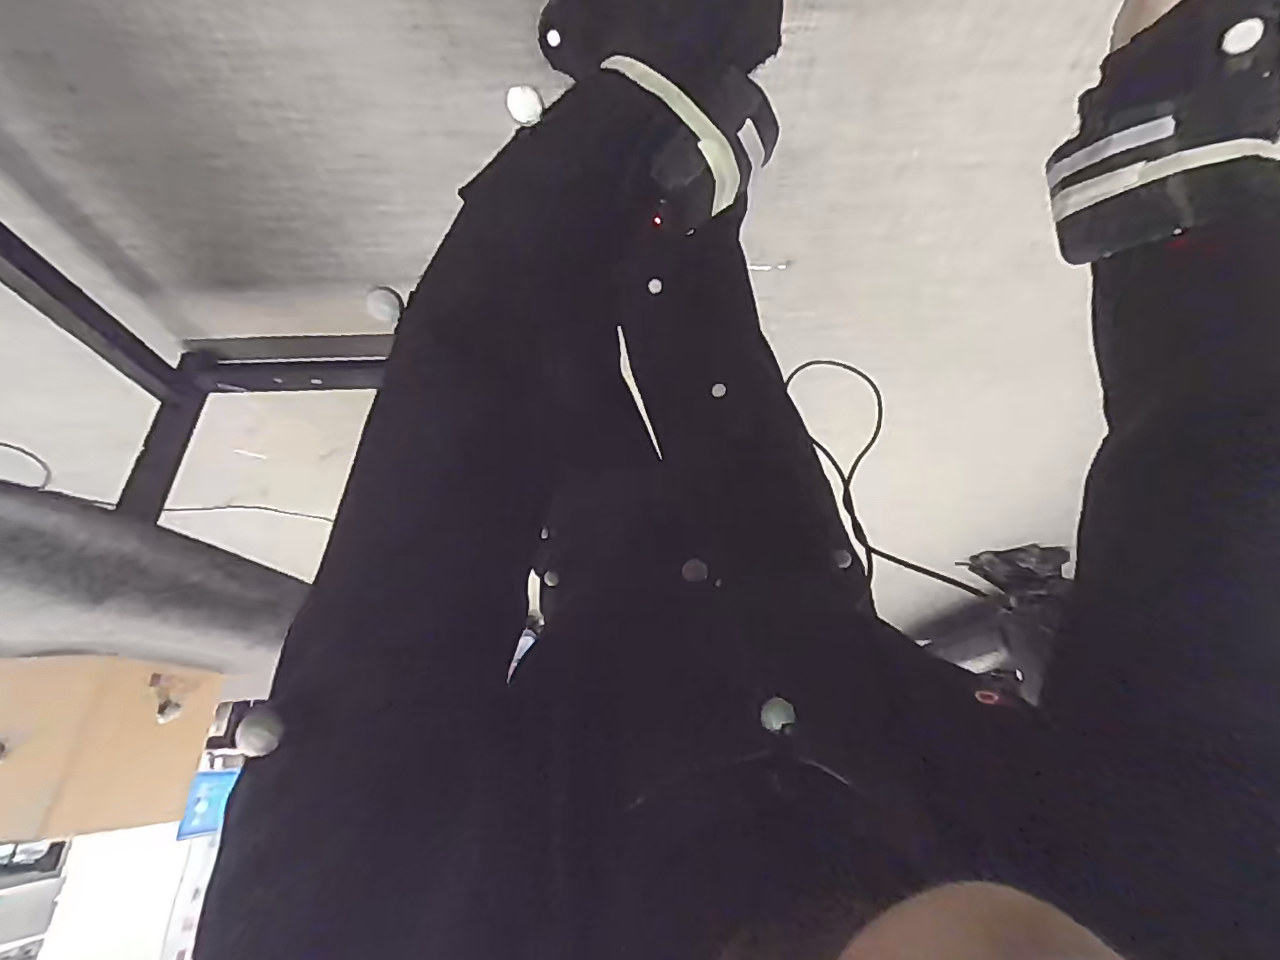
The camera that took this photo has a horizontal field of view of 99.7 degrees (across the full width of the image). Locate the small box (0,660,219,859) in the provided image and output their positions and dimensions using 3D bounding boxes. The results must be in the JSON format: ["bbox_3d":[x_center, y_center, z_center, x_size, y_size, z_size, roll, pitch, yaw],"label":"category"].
[{"bbox_3d":[-0.612,0.296,0.582,0.179,0.176,0.168,-3,152,1],"label":"small box"}]
